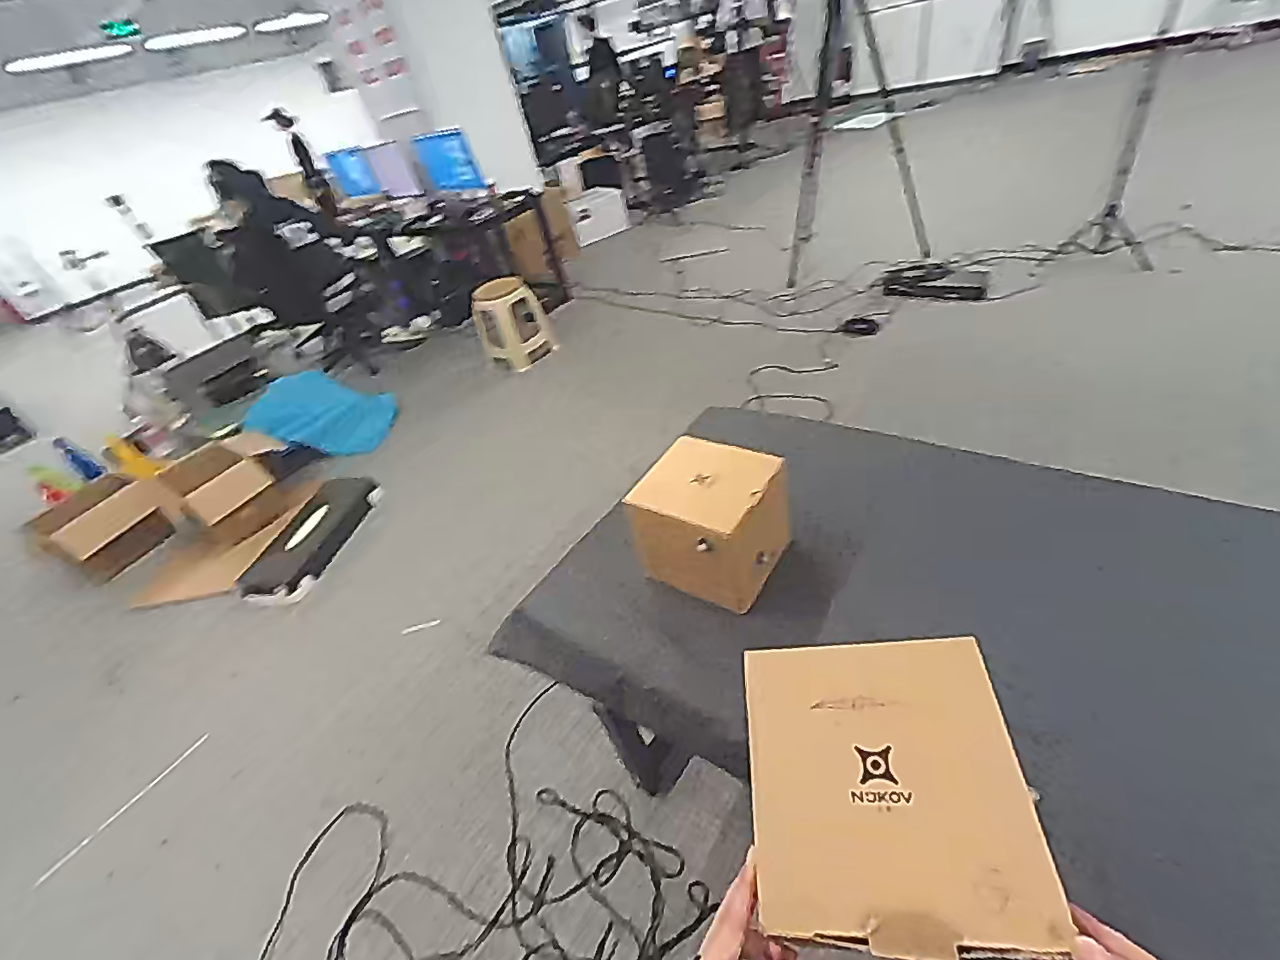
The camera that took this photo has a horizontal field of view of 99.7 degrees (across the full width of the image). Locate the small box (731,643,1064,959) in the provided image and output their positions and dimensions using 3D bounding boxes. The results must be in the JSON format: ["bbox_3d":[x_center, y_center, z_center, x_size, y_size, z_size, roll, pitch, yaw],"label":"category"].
[{"bbox_3d":[0.168,0.244,0.405,0.168,0.176,0.179,-9,47,14],"label":"small box"}]

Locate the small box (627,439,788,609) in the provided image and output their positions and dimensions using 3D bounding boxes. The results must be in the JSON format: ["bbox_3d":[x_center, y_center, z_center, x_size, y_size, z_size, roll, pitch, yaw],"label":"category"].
[{"bbox_3d":[0.109,0.065,0.815,0.179,0.176,0.168,17,48,33],"label":"small box"}]
